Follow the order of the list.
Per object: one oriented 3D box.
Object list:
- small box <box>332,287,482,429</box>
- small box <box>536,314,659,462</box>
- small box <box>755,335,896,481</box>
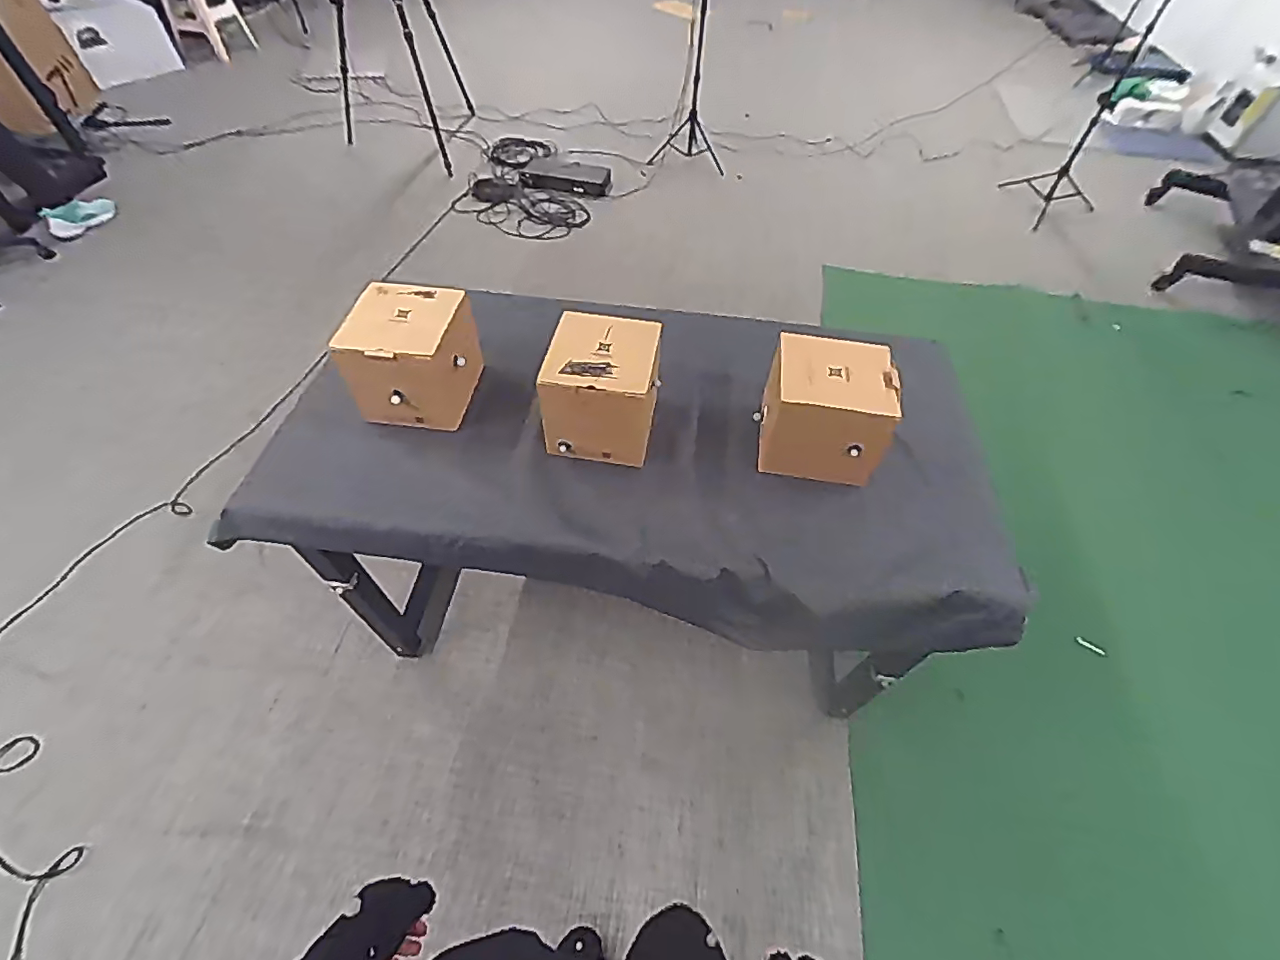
[{"bbox_3d":[-0.388,-0.208,0.941,0.168,0.176,0.179,6,54,2],"label":"small box"},{"bbox_3d":[-0.063,-0.150,0.908,0.168,0.176,0.179,8,52,4],"label":"small box"},{"bbox_3d":[0.296,-0.115,0.895,0.179,0.176,0.168,7,52,6],"label":"small box"}]
